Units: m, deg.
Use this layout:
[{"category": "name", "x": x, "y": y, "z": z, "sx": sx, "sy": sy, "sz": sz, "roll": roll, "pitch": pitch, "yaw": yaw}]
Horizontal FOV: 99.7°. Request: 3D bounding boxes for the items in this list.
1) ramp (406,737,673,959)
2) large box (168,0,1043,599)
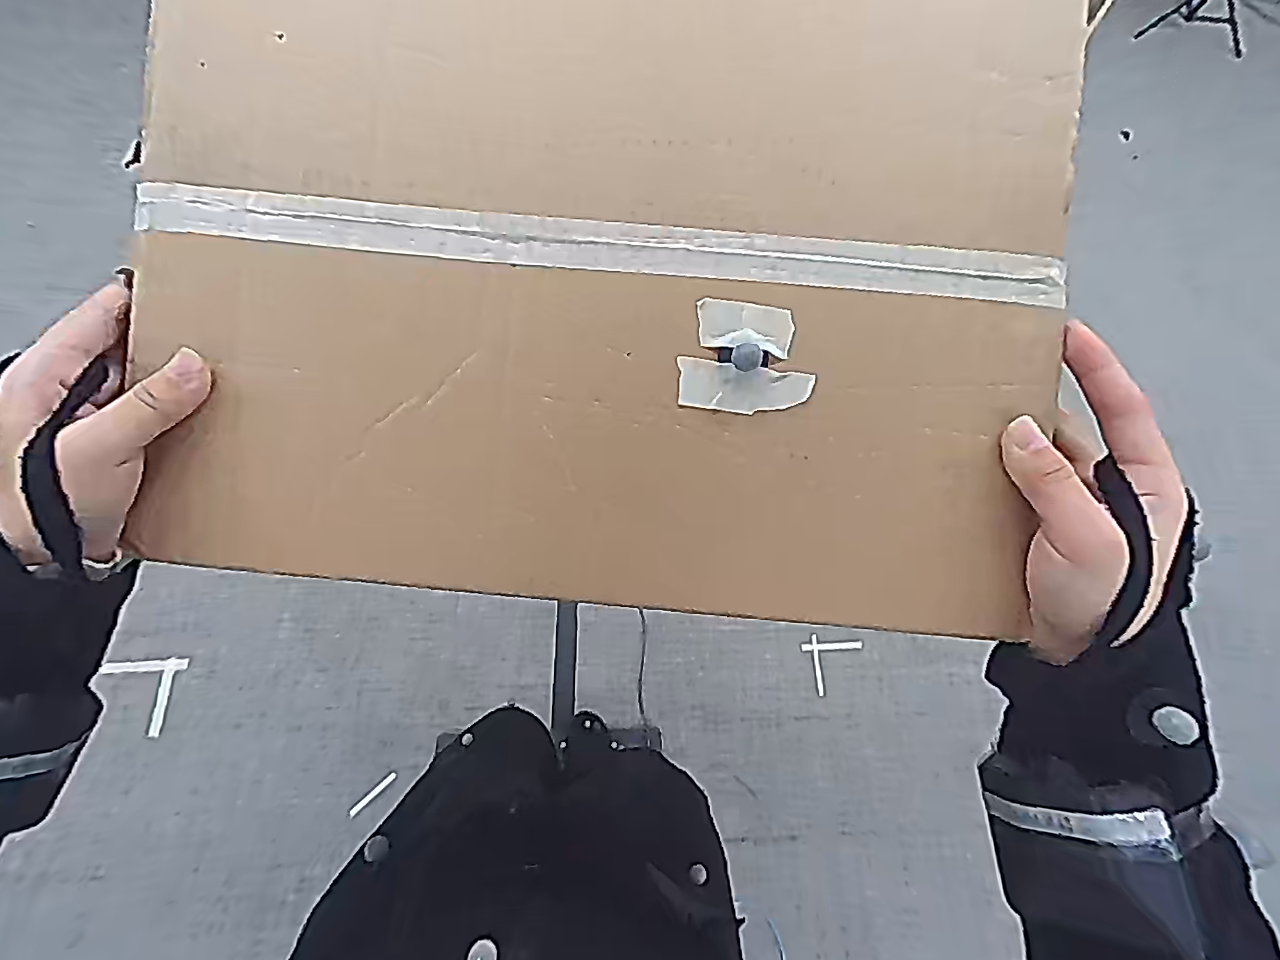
[{"category": "ramp", "x": -0.181, "y": 0.992, "z": 0.926, "sx": 0.509, "sy": 0.206, "sz": 0.991, "roll": -1, "pitch": 67, "yaw": -4}, {"category": "large box", "x": -0.017, "y": -0.108, "z": 0.406, "sx": 0.408, "sy": 0.320, "sz": 0.320, "roll": 5, "pitch": 91, "yaw": 0}]
